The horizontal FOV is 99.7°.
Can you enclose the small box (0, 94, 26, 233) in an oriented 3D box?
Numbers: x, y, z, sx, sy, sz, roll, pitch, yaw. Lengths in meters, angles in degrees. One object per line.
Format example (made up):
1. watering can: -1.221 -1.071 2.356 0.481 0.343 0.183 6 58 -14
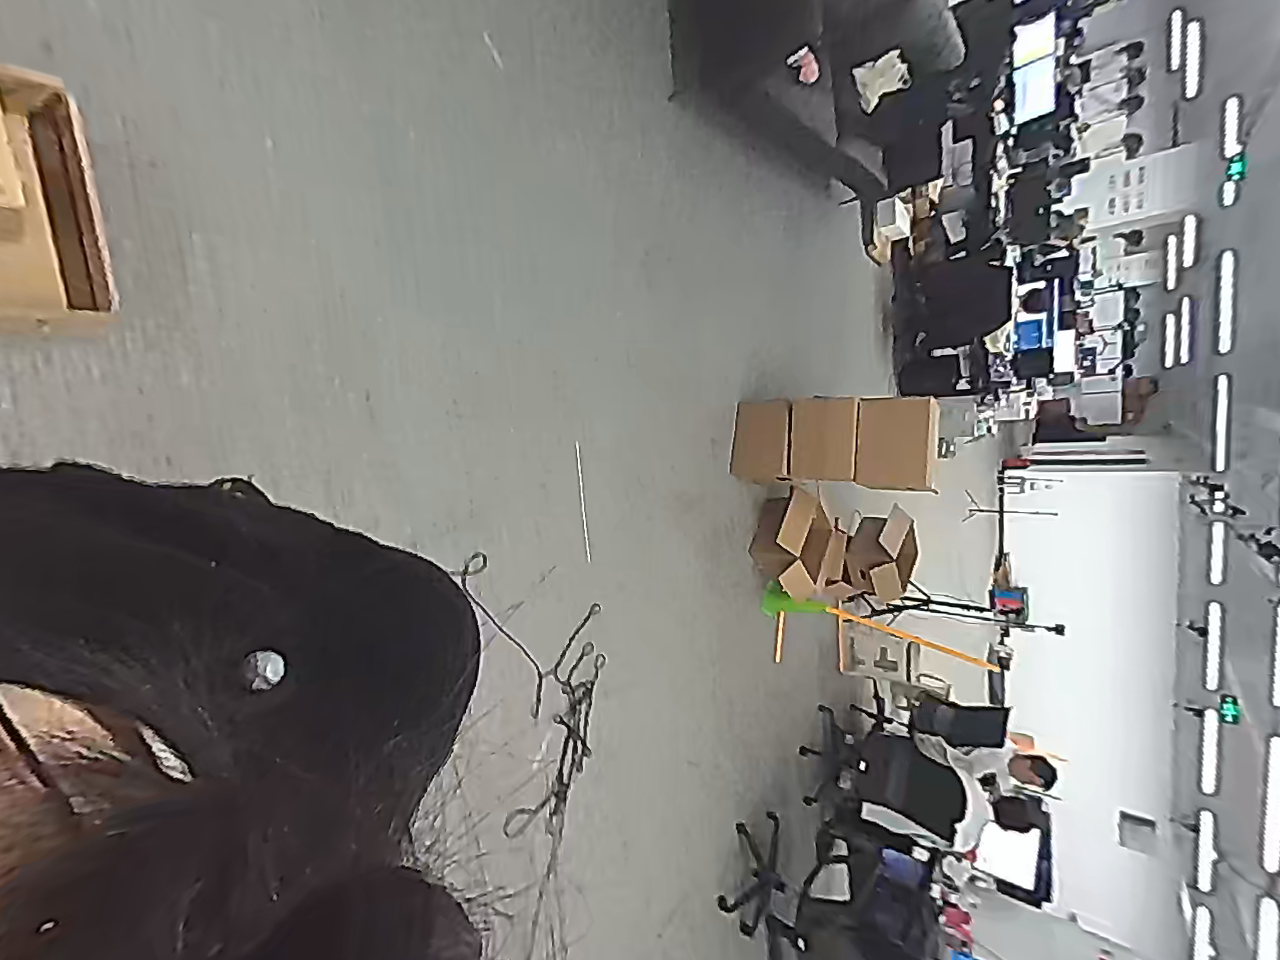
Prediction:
1. small box: -0.995 -0.467 0.747 0.168 0.176 0.179 -15 102 -48
